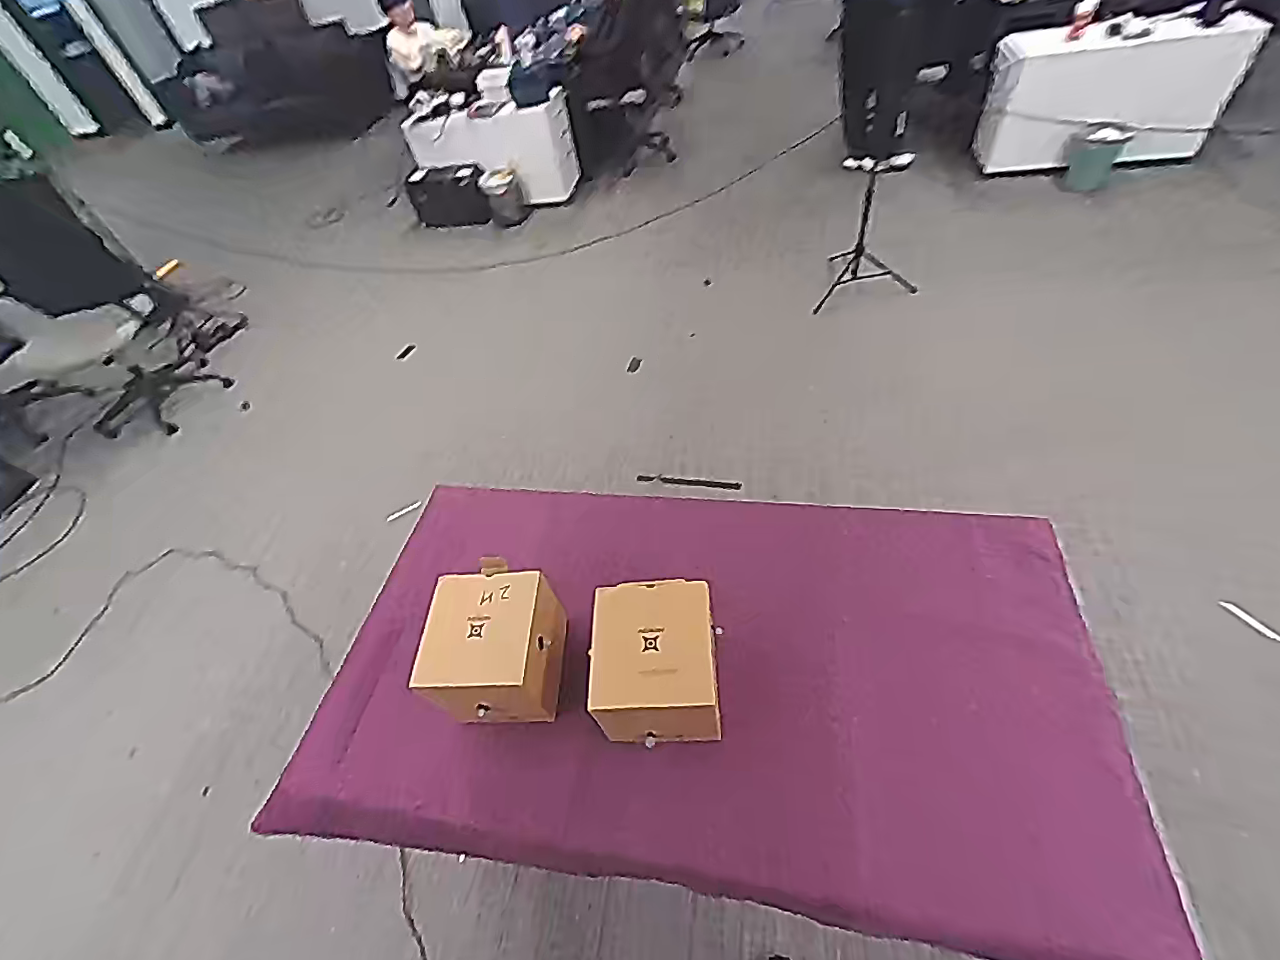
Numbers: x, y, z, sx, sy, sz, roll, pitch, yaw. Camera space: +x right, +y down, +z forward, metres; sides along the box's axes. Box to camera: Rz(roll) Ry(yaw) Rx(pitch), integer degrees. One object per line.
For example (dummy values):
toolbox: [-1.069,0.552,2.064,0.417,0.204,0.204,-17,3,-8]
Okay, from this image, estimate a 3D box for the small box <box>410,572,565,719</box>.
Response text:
small box: [-0.222,0.262,0.845,0.168,0.176,0.179,-3,50,7]

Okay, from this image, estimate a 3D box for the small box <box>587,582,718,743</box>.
small box: [0.026,0.270,0.795,0.168,0.176,0.179,-5,50,7]
